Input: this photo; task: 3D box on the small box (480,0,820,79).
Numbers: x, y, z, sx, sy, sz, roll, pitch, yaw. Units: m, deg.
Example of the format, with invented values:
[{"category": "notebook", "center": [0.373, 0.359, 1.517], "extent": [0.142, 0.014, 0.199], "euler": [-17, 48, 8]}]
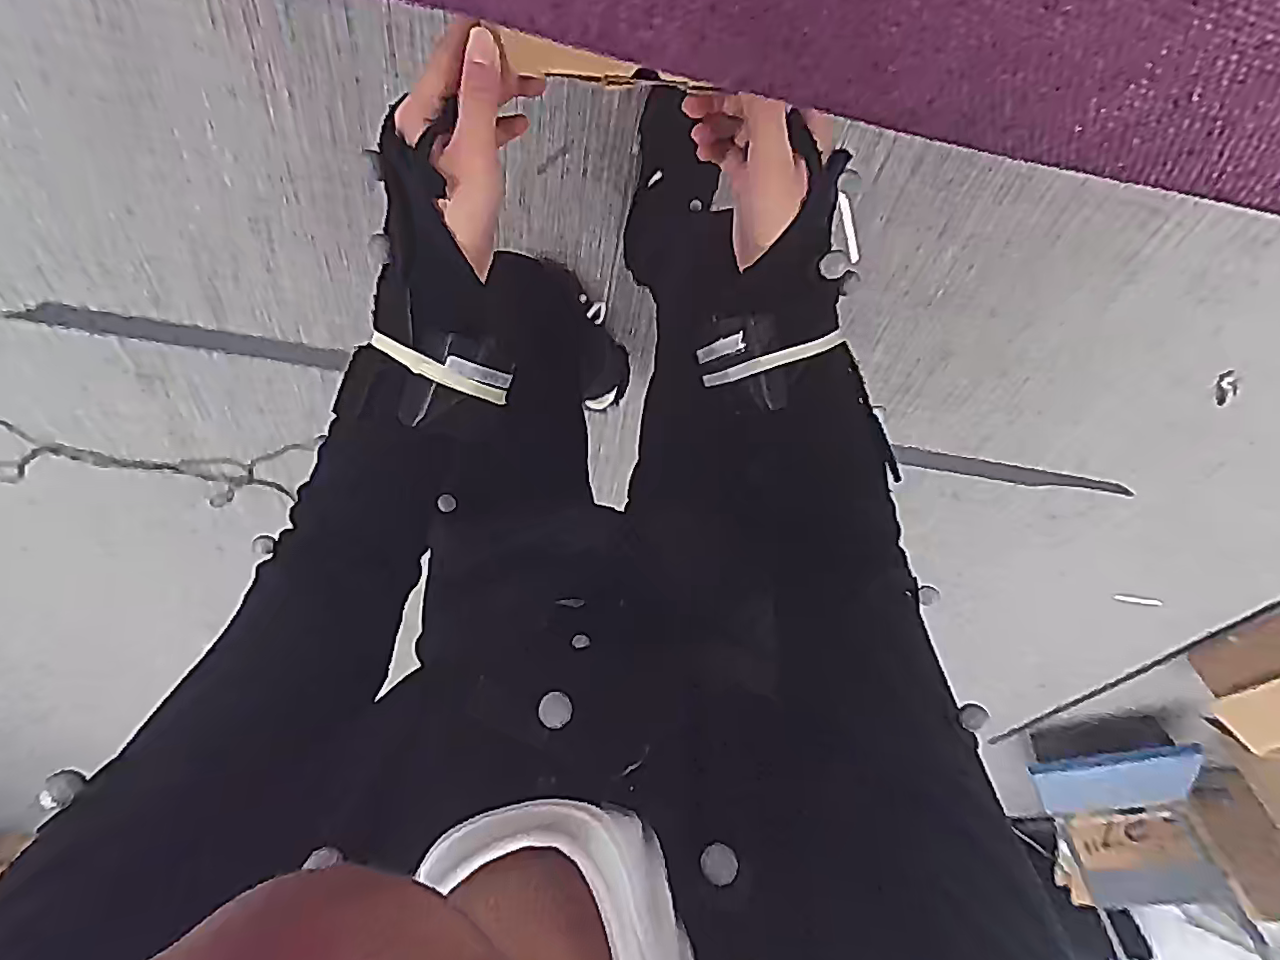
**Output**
[{"category": "small box", "center": [0.010, -0.330, 0.277], "extent": [0.168, 0.176, 0.179], "euler": [3, 130, -5]}]

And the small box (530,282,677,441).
[{"category": "small box", "center": [-0.052, -0.182, 0.838], "extent": [0.179, 0.176, 0.168], "euler": [-18, 121, 10]}]
